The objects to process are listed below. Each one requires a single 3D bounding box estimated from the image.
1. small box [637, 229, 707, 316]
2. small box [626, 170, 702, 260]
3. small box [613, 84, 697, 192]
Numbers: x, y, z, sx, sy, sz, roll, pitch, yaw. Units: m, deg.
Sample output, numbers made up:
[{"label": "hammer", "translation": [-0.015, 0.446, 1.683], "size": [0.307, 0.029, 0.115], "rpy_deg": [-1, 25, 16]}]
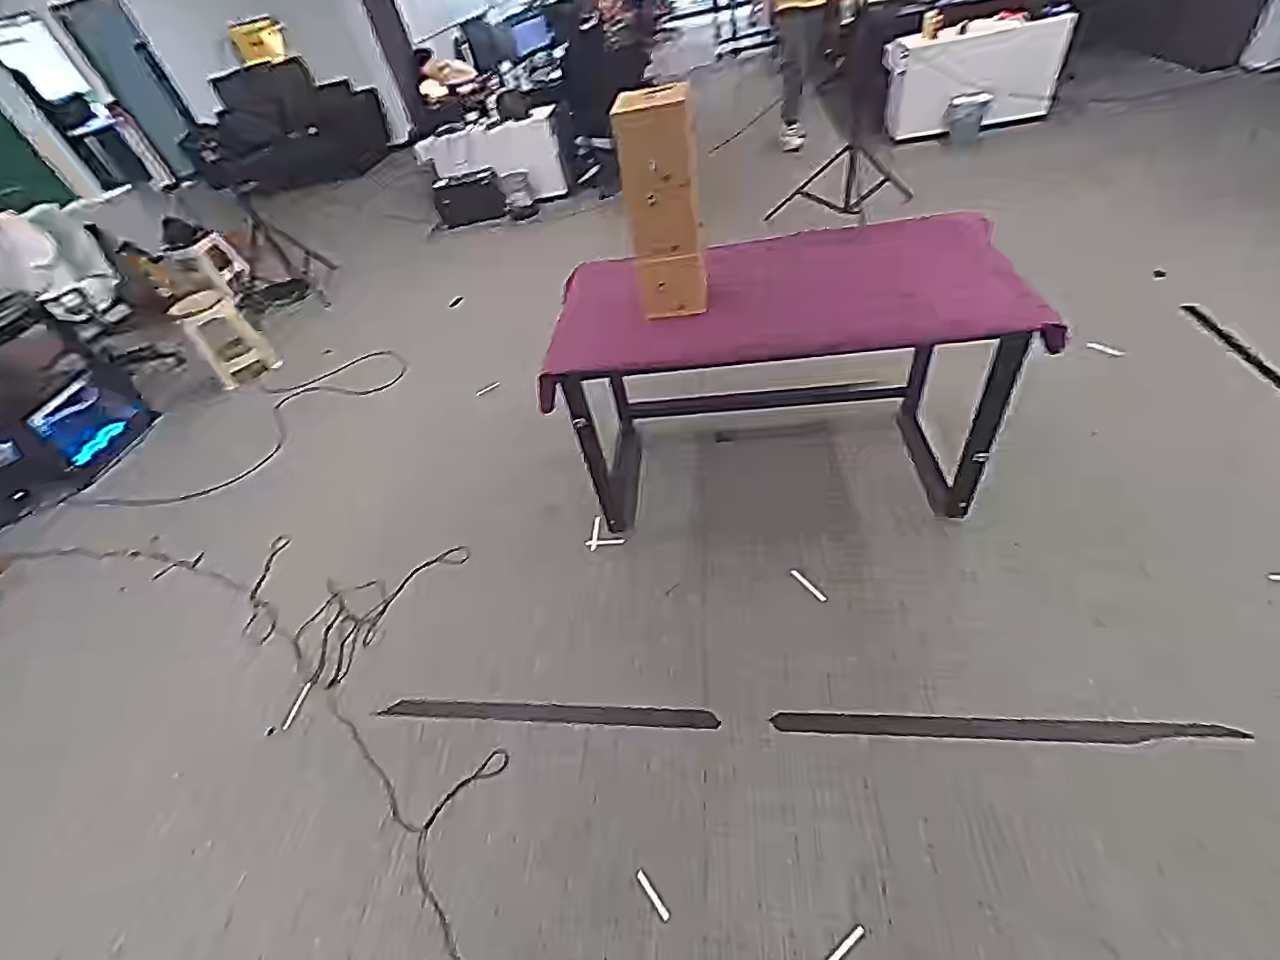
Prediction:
[{"label": "small box", "translation": [0.096, -0.569, 1.498], "size": [0.168, 0.176, 0.179], "rpy_deg": [-3, 45, 11]}, {"label": "small box", "translation": [0.068, -0.687, 1.388], "size": [0.168, 0.176, 0.179], "rpy_deg": [-3, 45, 11]}, {"label": "small box", "translation": [0.043, -0.800, 1.270], "size": [0.168, 0.176, 0.179], "rpy_deg": [-2, 46, 11]}]
